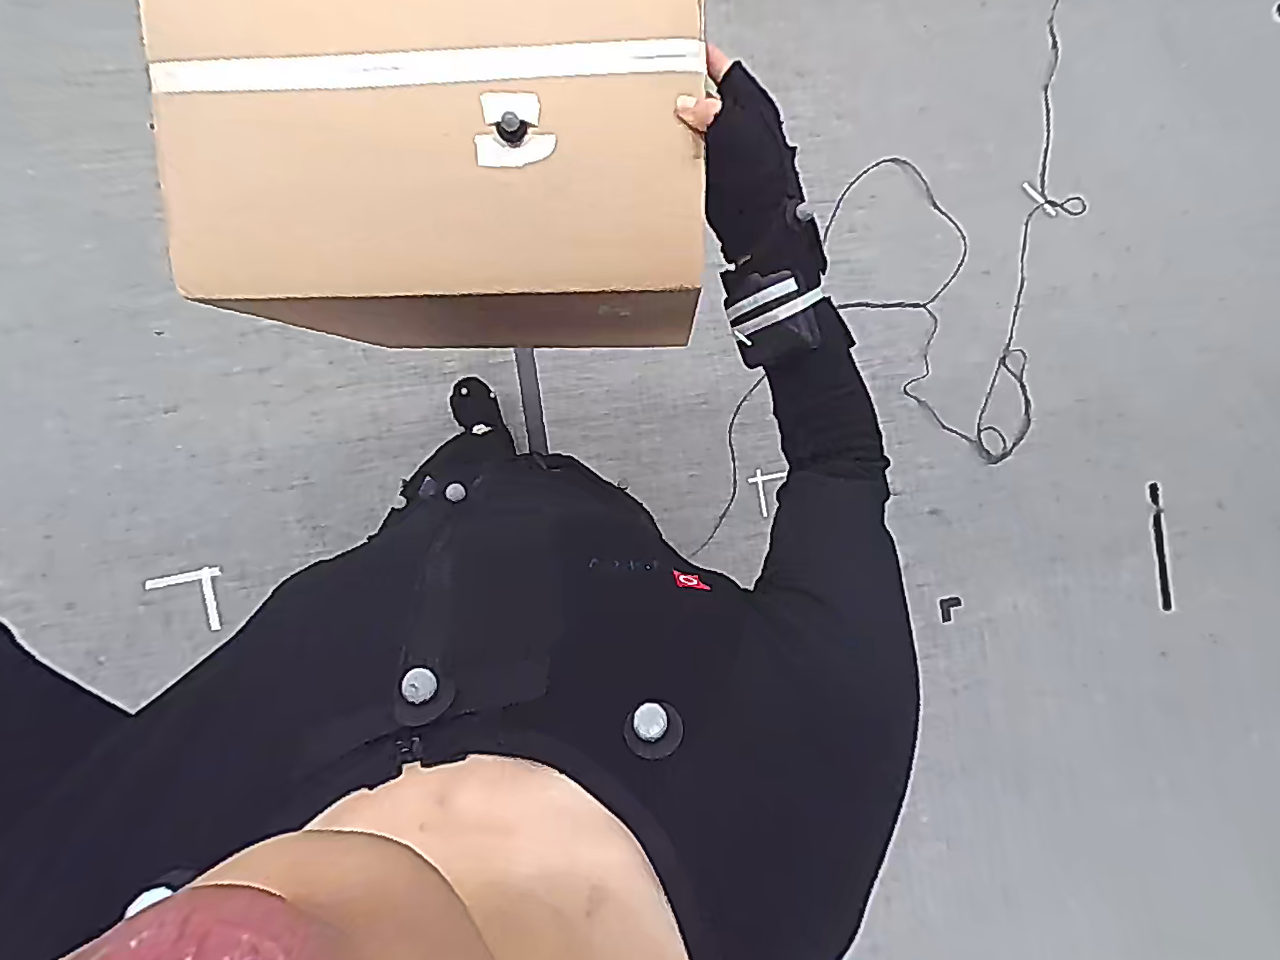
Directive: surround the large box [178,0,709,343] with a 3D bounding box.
[{"bbox_3d":[-0.145,-0.324,0.552,0.408,0.320,0.320,0,97,2],"label":"large box"}]
